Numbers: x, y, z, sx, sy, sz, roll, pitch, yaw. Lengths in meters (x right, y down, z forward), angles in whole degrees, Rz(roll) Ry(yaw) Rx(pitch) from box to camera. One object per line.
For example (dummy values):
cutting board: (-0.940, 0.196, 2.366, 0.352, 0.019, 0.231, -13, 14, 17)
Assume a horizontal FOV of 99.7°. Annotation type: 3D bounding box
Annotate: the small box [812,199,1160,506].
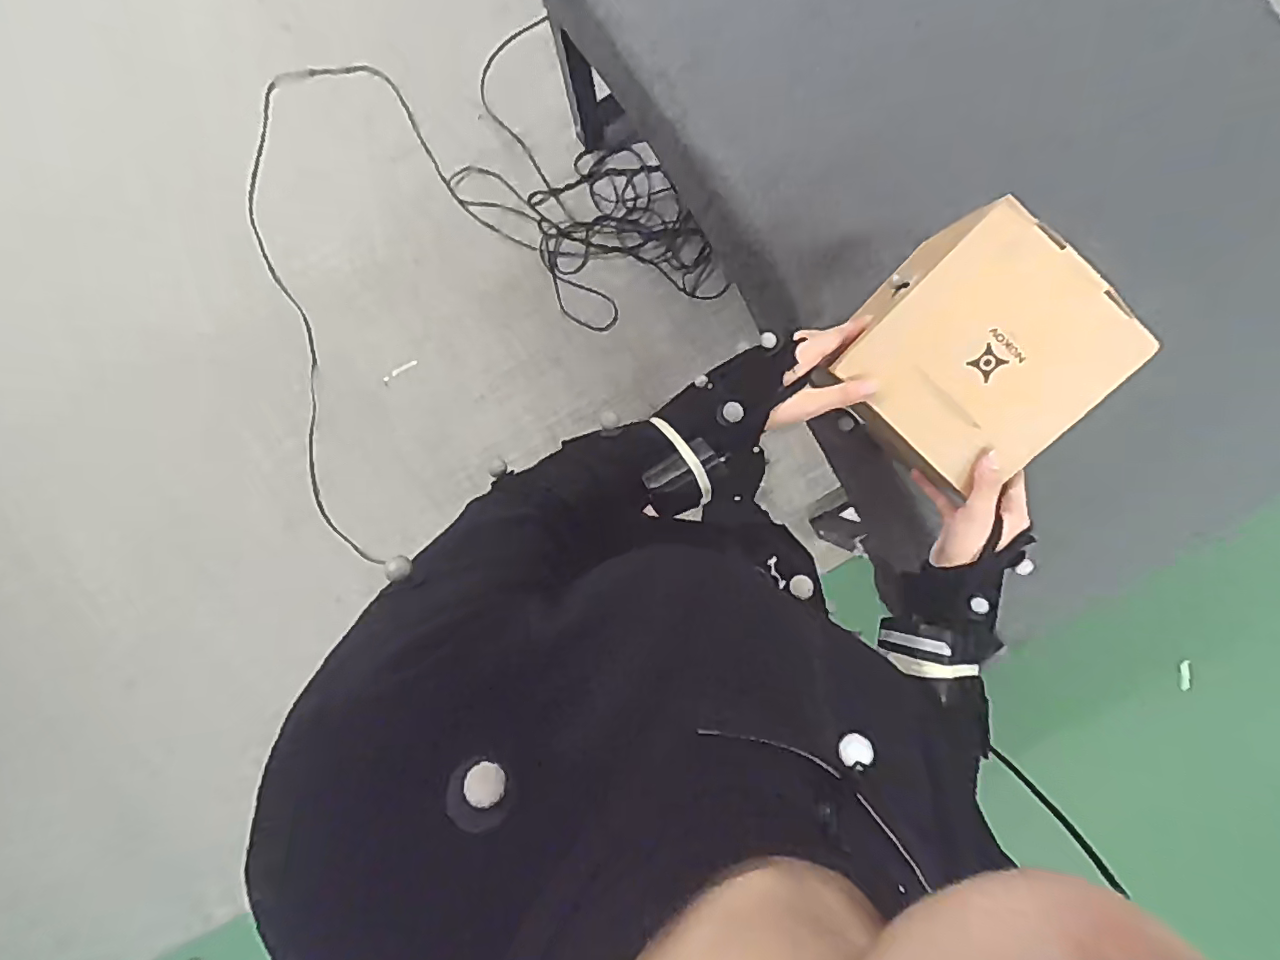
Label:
small box: (0.283, -0.109, 0.495, 0.168, 0.176, 0.179, 42, 105, -2)
